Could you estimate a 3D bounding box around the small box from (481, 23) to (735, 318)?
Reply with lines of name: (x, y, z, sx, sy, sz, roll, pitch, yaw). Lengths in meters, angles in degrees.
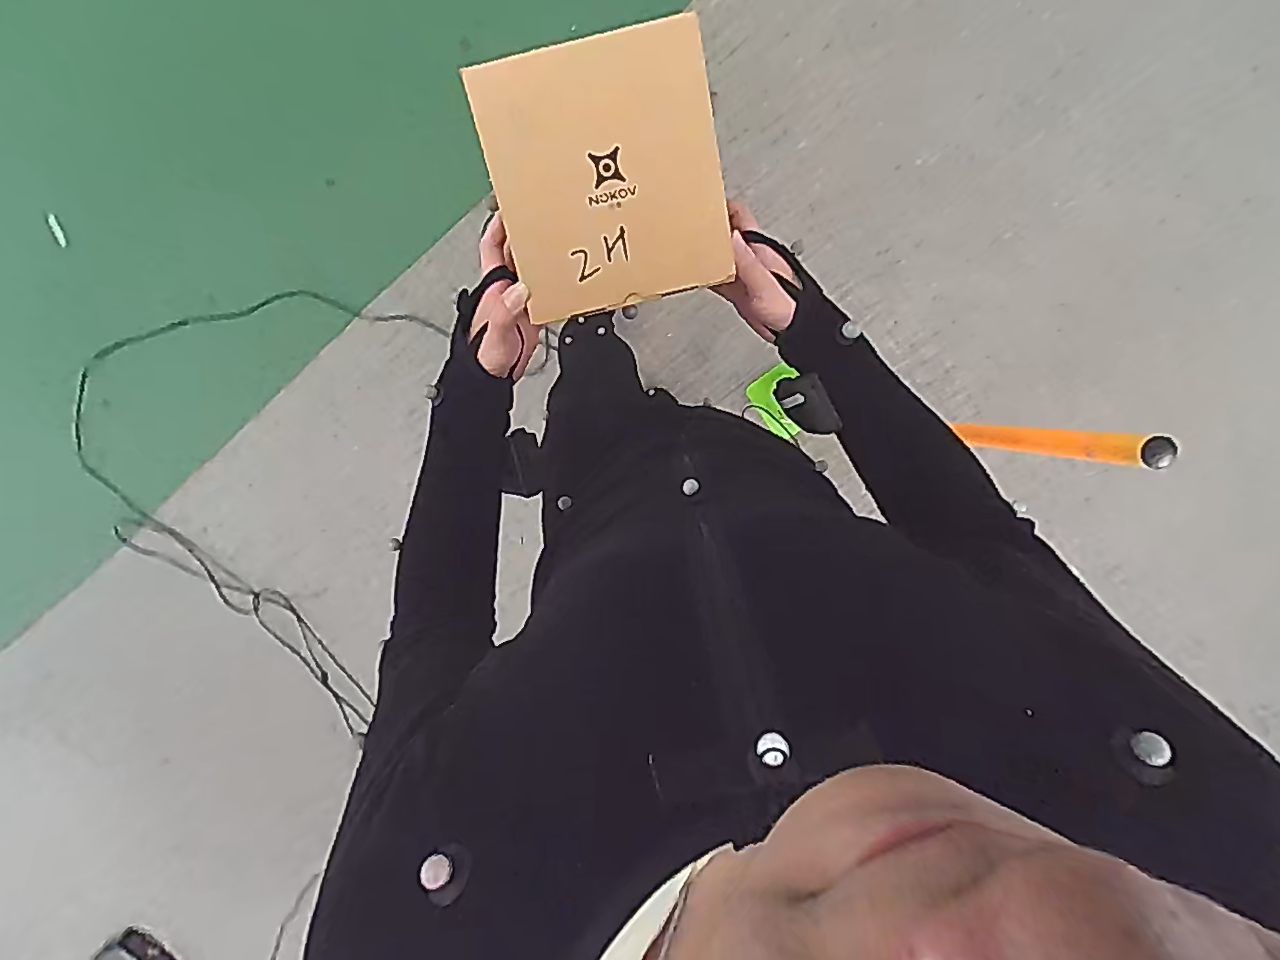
small box: (-0.023, -0.248, 0.477, 0.168, 0.176, 0.179, -11, 110, 1)

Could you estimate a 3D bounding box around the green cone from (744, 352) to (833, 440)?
green cone: (0.424, -0.188, 1.401, 0.202, 0.368, 0.200, -35, 102, 12)
